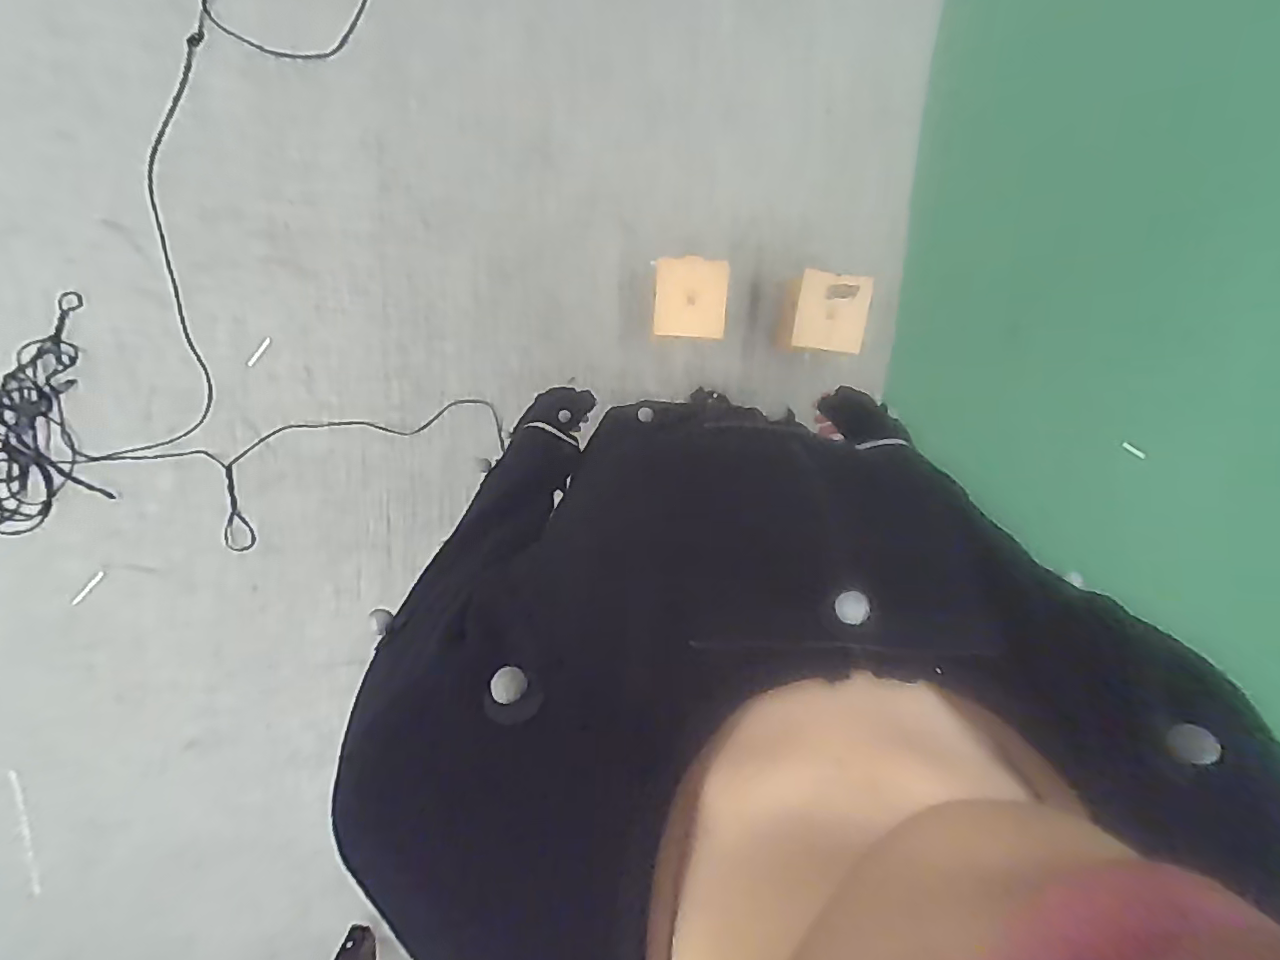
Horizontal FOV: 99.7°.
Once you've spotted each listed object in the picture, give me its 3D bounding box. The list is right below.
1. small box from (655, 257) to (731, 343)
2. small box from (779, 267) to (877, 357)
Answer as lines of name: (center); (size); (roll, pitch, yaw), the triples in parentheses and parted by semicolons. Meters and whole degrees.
small box: (0.123, -0.431, 1.317); (0.168, 0.176, 0.179); (3, 100, 0)
small box: (0.448, -0.402, 1.317); (0.168, 0.176, 0.179); (7, 101, -1)
